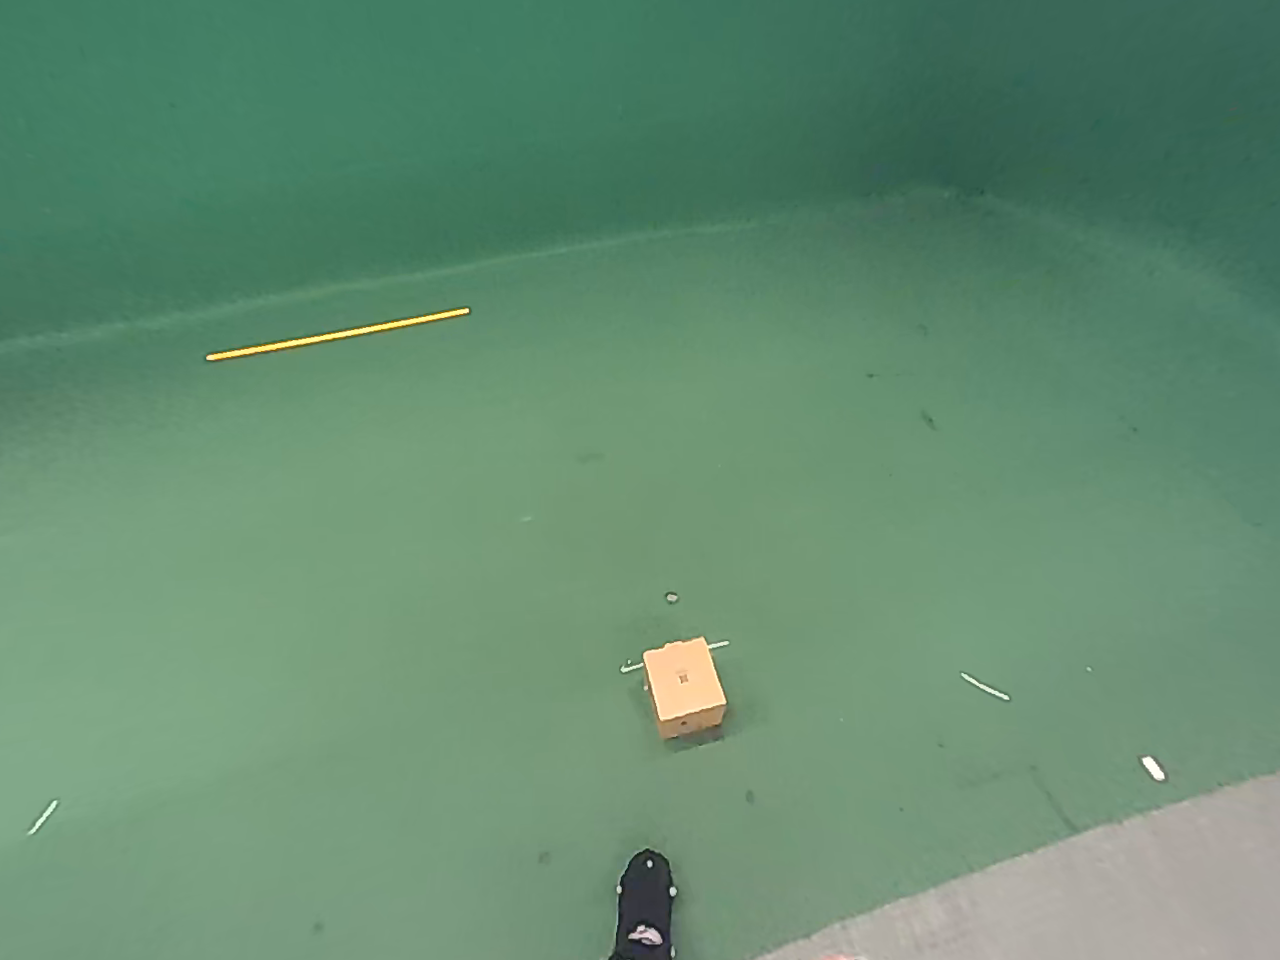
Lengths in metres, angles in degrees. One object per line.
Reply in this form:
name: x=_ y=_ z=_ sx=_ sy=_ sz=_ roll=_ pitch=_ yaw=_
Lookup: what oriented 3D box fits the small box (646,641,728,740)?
small box: x=0.120 y=0.546 z=1.386 sx=0.168 sy=0.176 sz=0.179 roll=-13 pitch=49 yaw=-6
